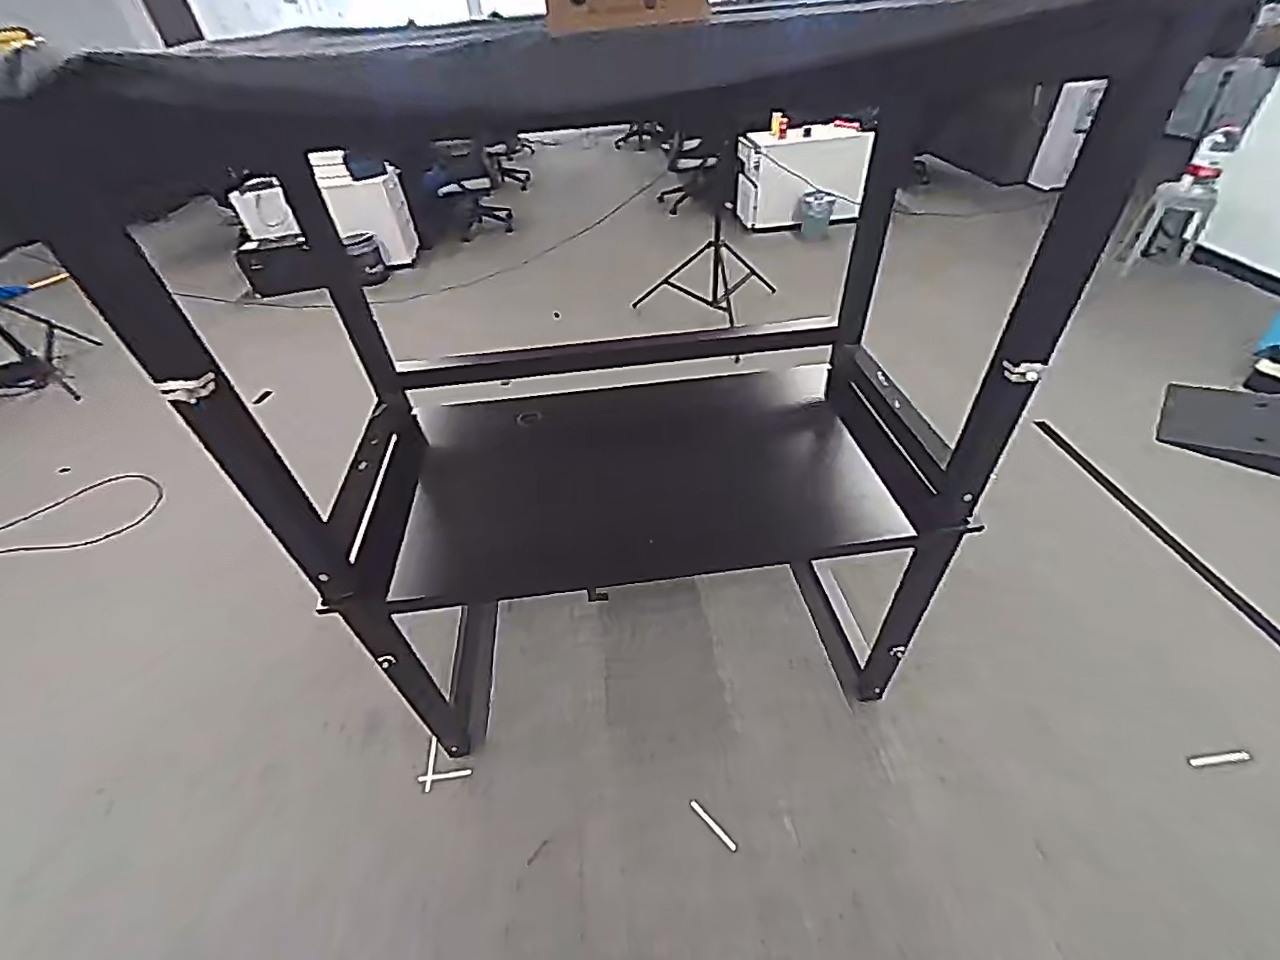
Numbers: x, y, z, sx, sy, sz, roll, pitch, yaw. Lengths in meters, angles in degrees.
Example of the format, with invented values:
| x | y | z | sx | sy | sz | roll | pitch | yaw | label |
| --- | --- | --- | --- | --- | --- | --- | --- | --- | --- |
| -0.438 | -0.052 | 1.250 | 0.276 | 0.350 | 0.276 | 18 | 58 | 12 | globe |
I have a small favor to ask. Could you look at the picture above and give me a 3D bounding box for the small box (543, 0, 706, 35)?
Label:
| x | y | z | sx | sy | sz | roll | pitch | yaw | label |
| --- | --- | --- | --- | --- | --- | --- | --- | --- | --- |
| -0.026 | -0.572 | 0.552 | 0.168 | 0.176 | 0.179 | -7 | 41 | -3 | small box |
